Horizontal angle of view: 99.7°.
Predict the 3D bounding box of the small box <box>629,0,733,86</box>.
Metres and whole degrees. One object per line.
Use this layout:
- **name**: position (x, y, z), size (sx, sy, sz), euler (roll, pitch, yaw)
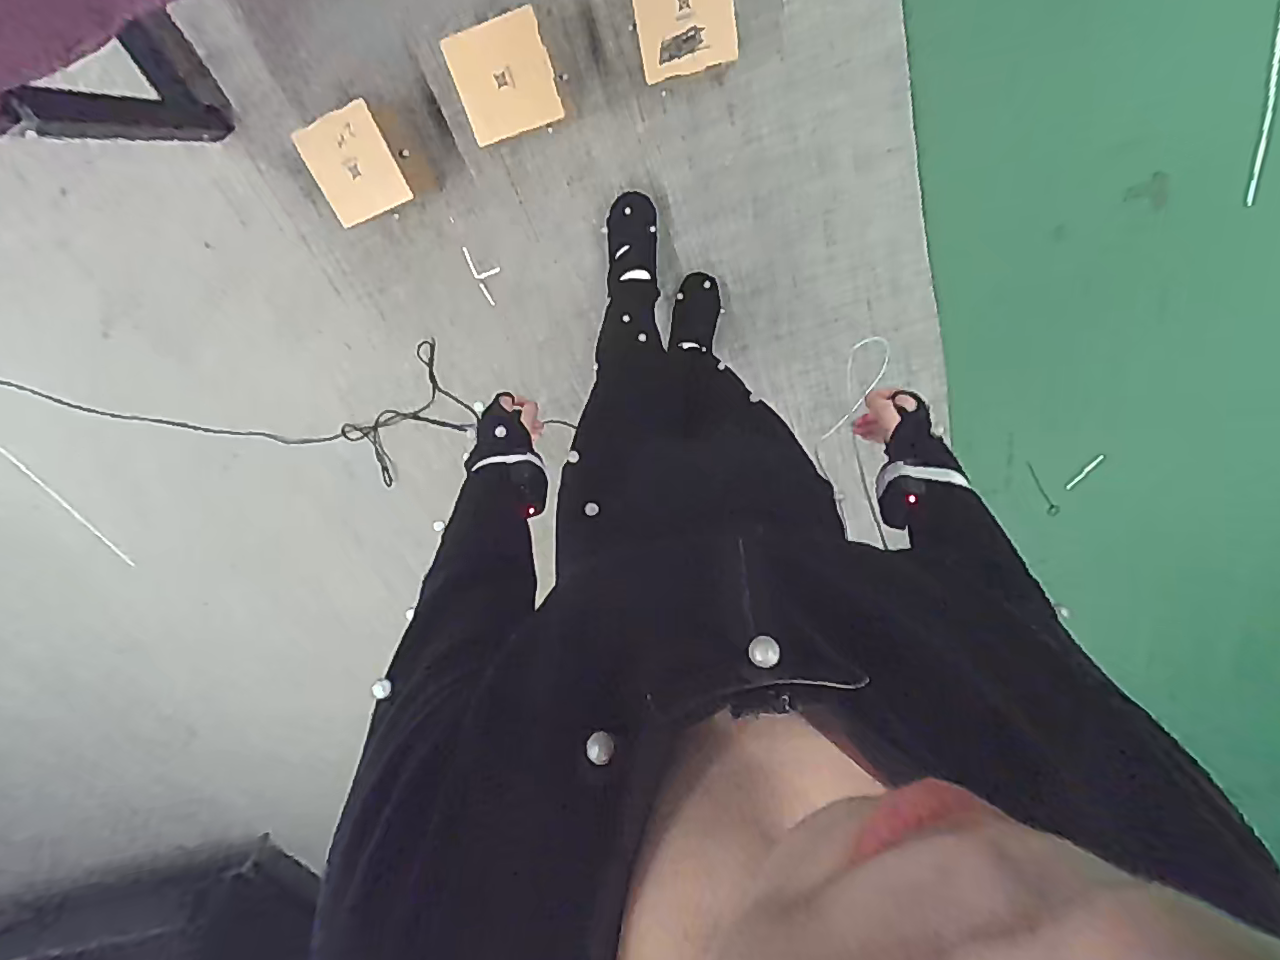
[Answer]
- **small box**: position (0.069, -0.830, 0.969), size (0.168, 0.176, 0.179), euler (-10, 120, 7)
